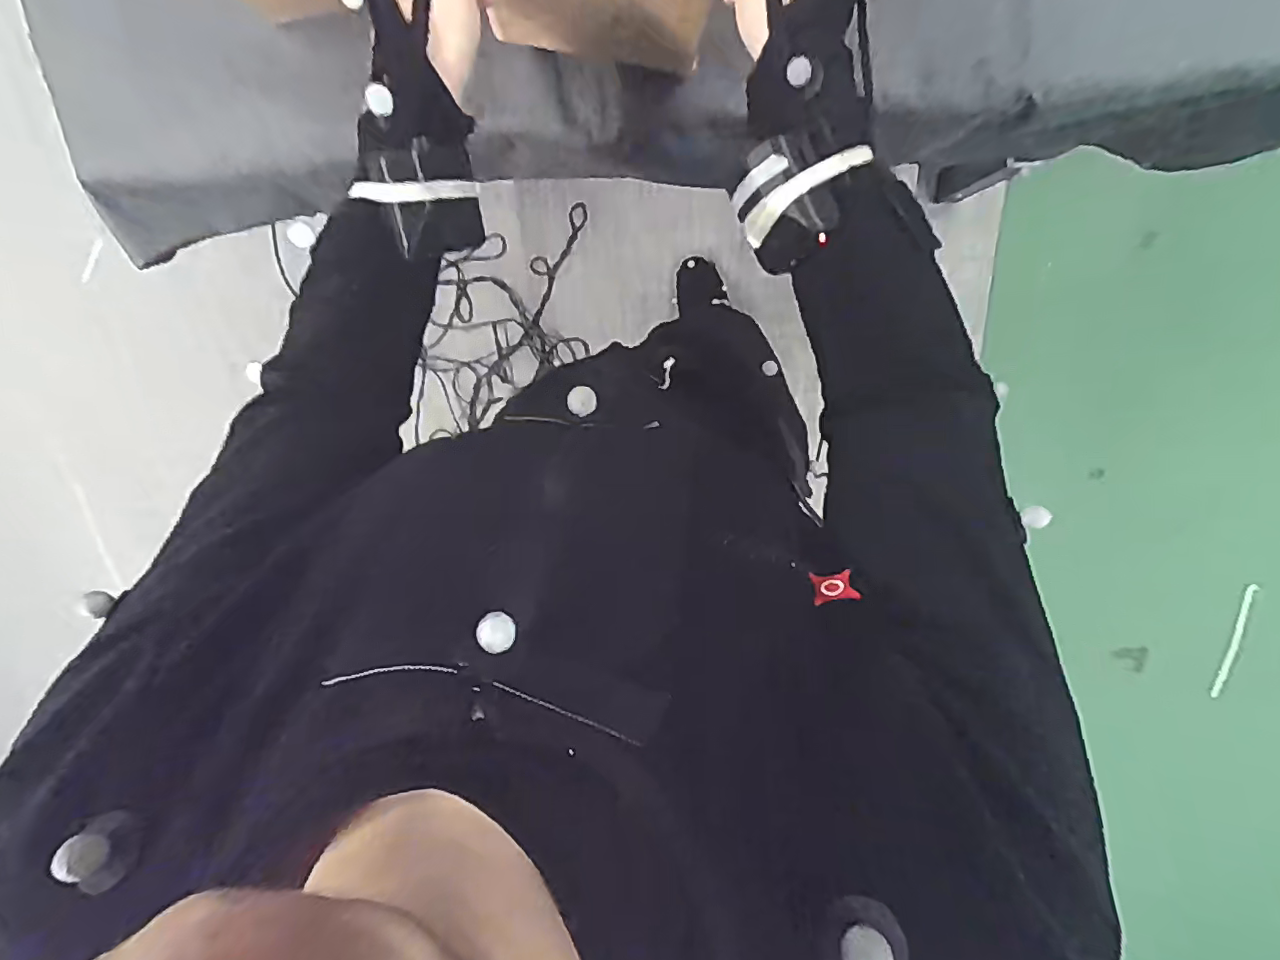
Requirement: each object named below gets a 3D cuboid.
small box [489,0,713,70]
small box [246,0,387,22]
[{"bbox_3d":[-0.022,-0.425,0.372,0.179,0.176,0.168,7,103,-6],"label":"small box"},{"bbox_3d":[-0.291,-0.507,0.420,0.179,0.176,0.168,-3,106,11],"label":"small box"}]
